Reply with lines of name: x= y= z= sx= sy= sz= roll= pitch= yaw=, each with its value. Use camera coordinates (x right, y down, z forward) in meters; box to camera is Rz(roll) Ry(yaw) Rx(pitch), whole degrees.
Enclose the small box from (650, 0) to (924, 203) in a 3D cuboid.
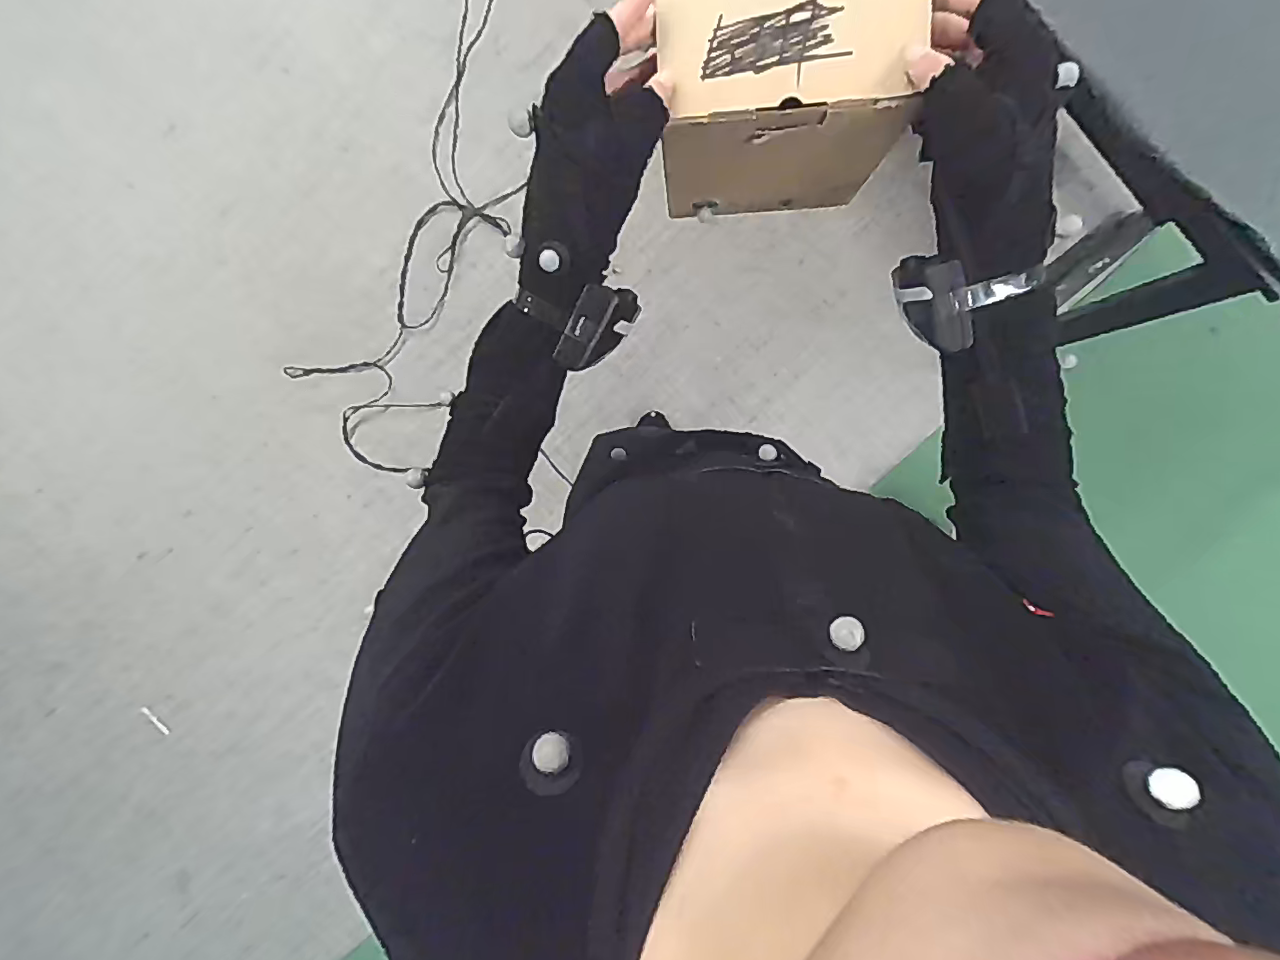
small box: x=0.095 y=-0.327 z=0.405 sx=0.168 sy=0.176 sz=0.179 roll=-2 pitch=96 yaw=5
